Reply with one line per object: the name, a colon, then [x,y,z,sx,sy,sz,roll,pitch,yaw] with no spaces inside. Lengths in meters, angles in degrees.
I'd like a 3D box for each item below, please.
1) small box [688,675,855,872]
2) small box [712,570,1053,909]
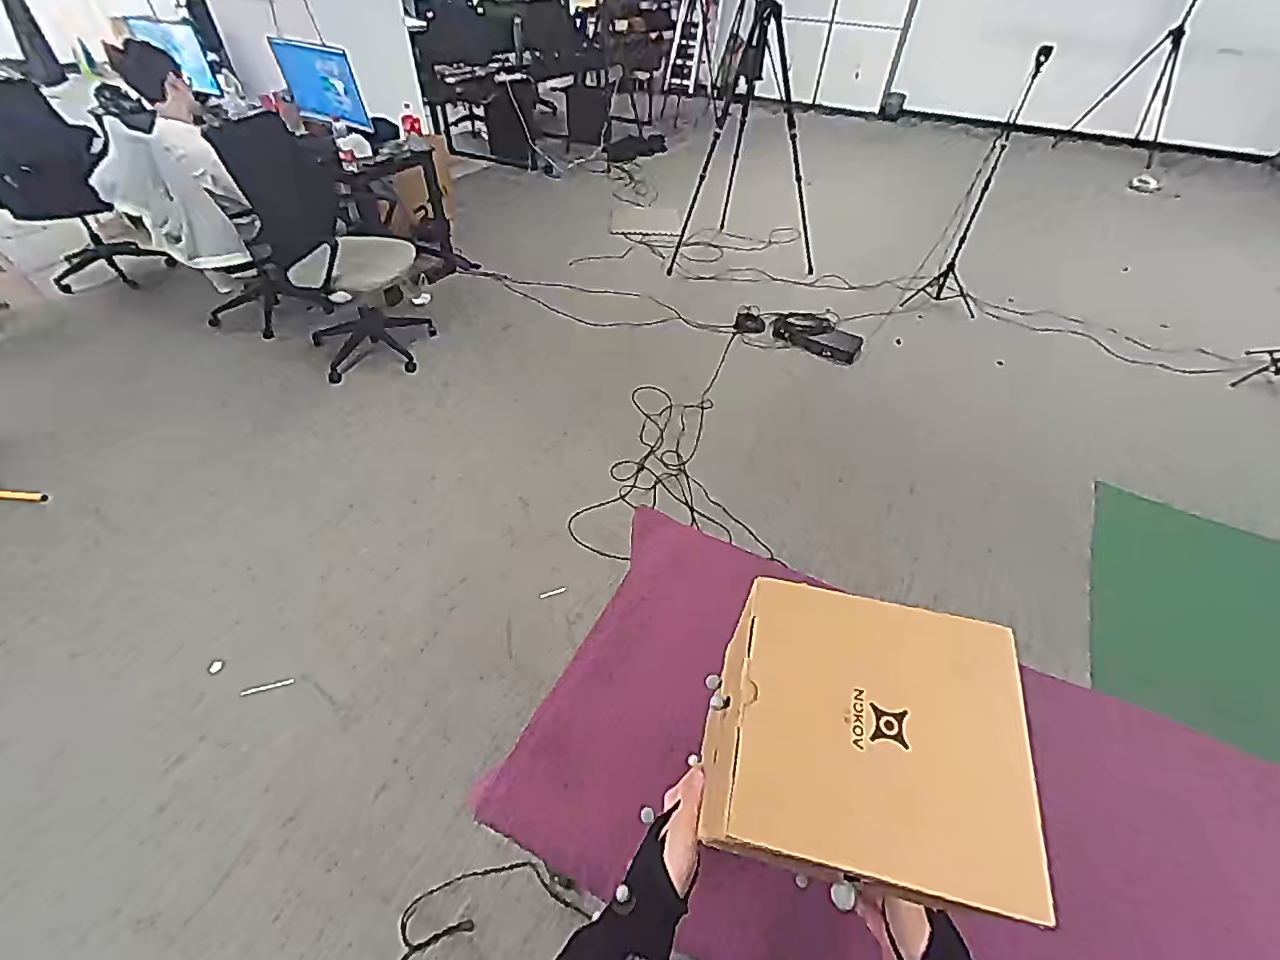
small box: [0.165,0.369,0.685,0.179,0.176,0.168,12,57,10]
small box: [0.159,0.191,0.410,0.179,0.176,0.168,10,58,8]
